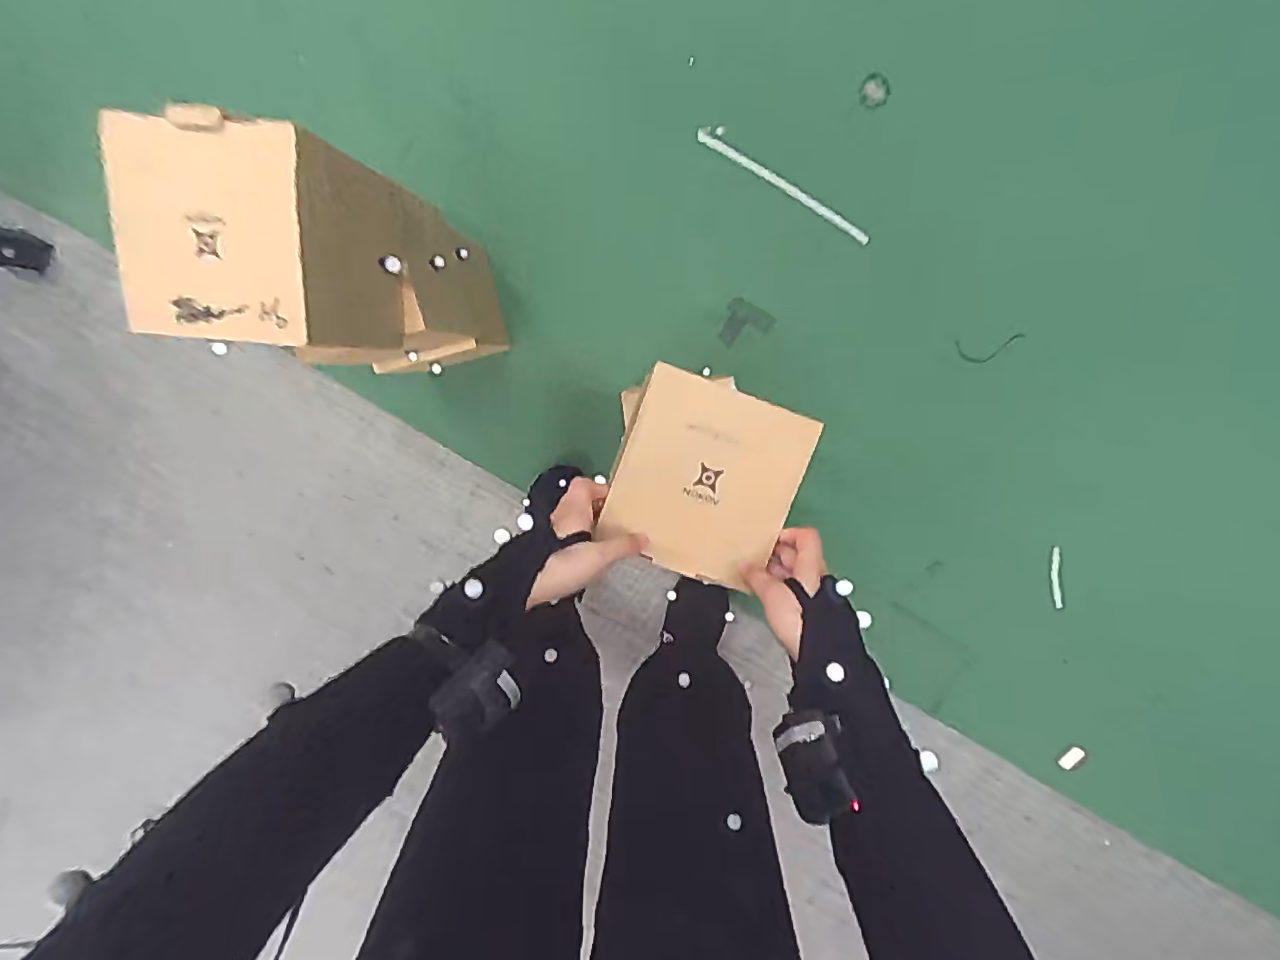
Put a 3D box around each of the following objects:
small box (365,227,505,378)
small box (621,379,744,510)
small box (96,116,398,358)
[{"bbox_3d":[-0.331,-0.268,0.847,0.168,0.176,0.179,-13,101,7],"label":"small box"},{"bbox_3d":[0.066,-0.065,0.860,0.168,0.176,0.179,-7,103,6],"label":"small box"},{"bbox_3d":[-0.353,-0.215,0.522,0.168,0.176,0.179,6,103,4],"label":"small box"}]
